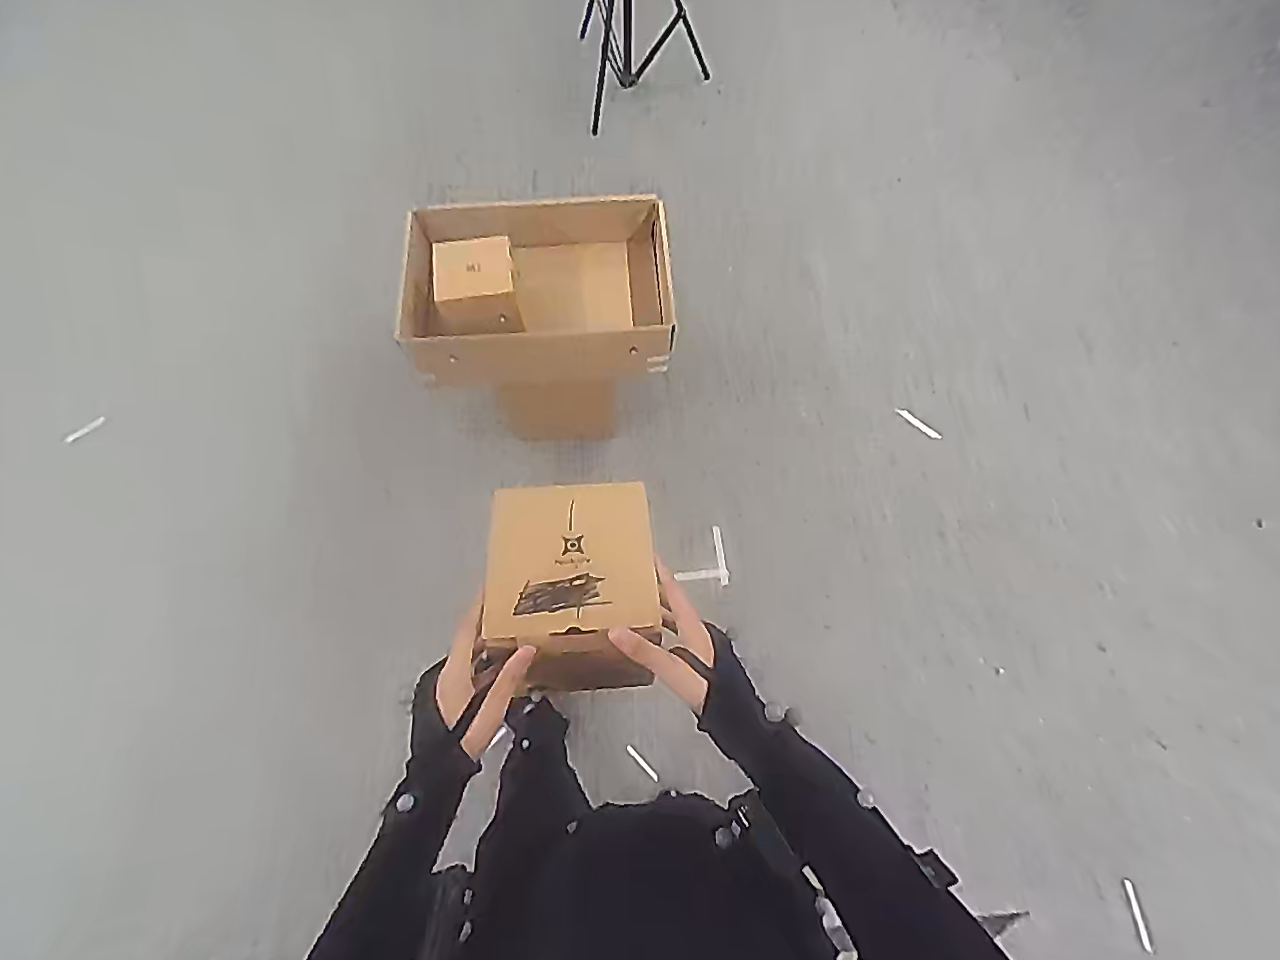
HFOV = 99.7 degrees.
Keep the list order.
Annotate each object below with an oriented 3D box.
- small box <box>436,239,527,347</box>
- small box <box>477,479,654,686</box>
[{"bbox_3d":[-0.367,-0.436,1.276,0.179,0.176,0.168,-8,68,-3],"label":"small box"},{"bbox_3d":[-0.075,0.121,0.605,0.168,0.176,0.179,-3,52,-5],"label":"small box"}]
